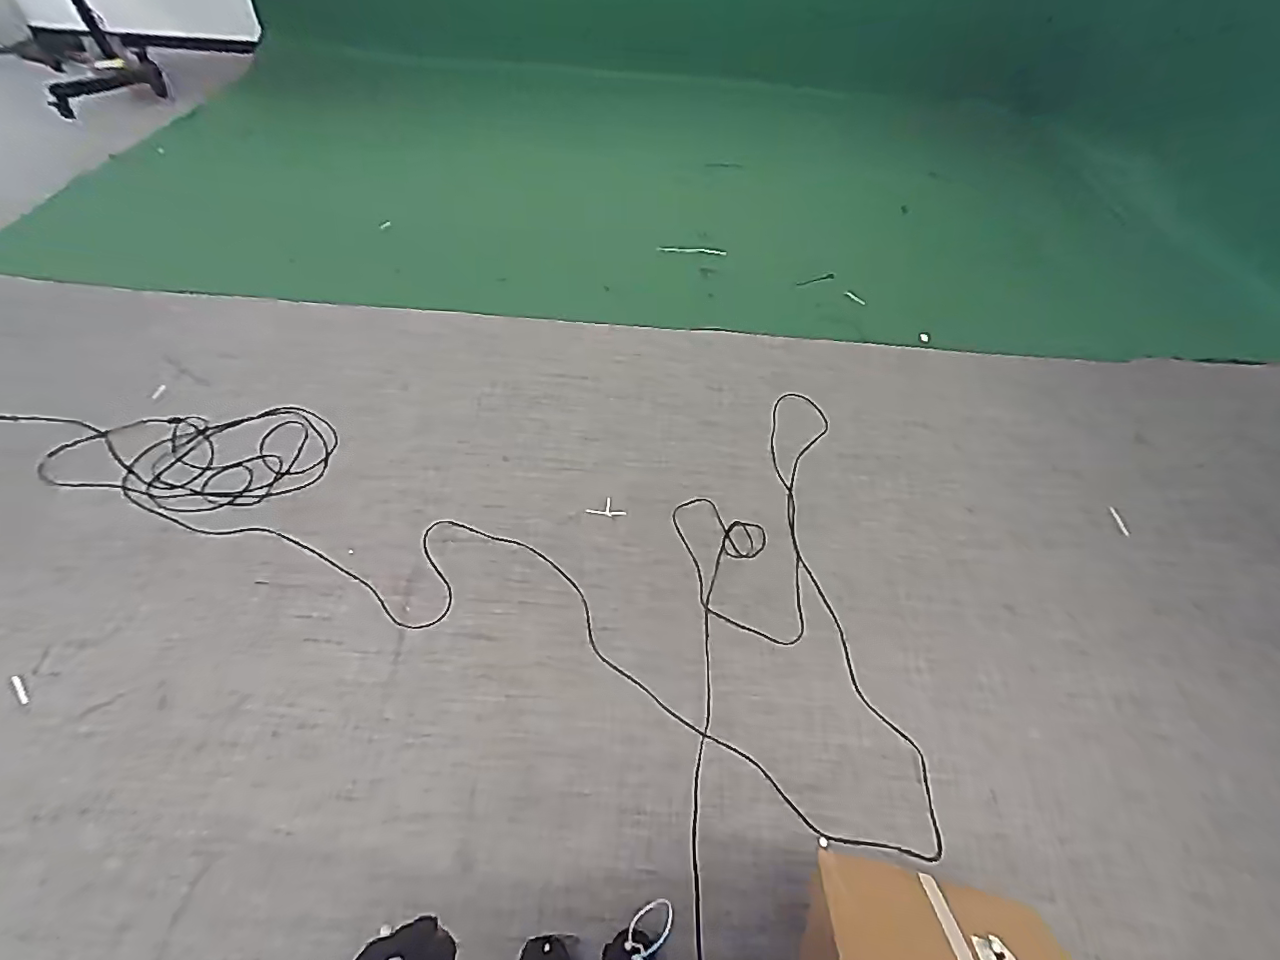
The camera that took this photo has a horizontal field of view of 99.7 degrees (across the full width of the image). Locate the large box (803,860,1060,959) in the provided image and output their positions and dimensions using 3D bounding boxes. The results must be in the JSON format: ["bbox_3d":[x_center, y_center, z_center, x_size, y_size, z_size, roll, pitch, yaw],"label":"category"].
[{"bbox_3d":[0.369,0.760,0.626,0.320,0.408,0.320,10,90,10],"label":"large box"}]
